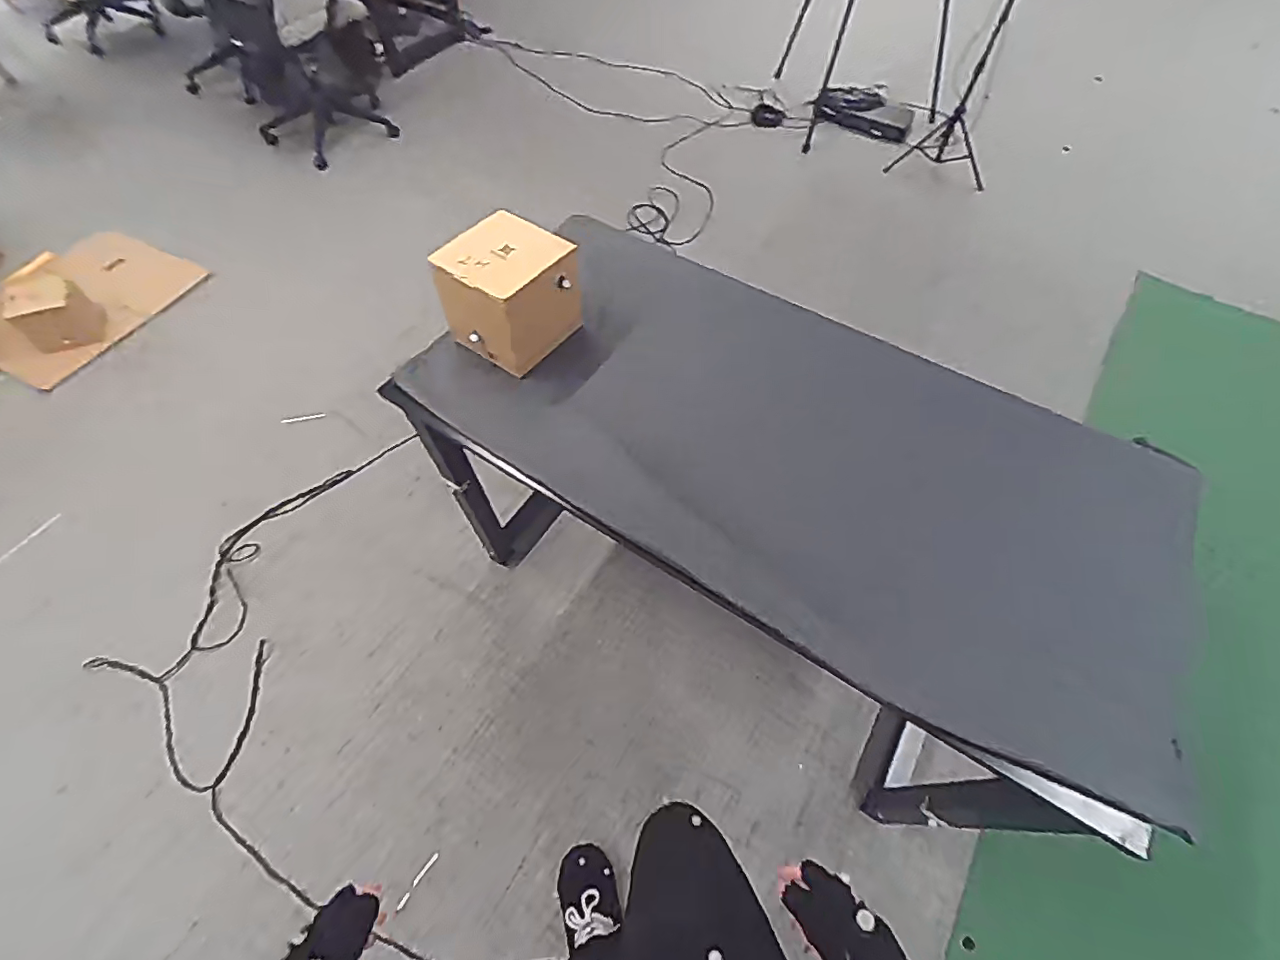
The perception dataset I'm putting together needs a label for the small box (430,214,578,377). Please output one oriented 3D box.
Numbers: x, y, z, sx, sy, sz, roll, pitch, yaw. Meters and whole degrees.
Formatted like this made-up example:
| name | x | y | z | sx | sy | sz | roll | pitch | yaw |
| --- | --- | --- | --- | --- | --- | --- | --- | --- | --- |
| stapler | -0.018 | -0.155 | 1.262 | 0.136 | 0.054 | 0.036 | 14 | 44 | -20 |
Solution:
| name | x | y | z | sx | sy | sz | roll | pitch | yaw |
| --- | --- | --- | --- | --- | --- | --- | --- | --- | --- |
| small box | -0.221 | -0.315 | 0.931 | 0.168 | 0.176 | 0.179 | 32 | 62 | 17 |
